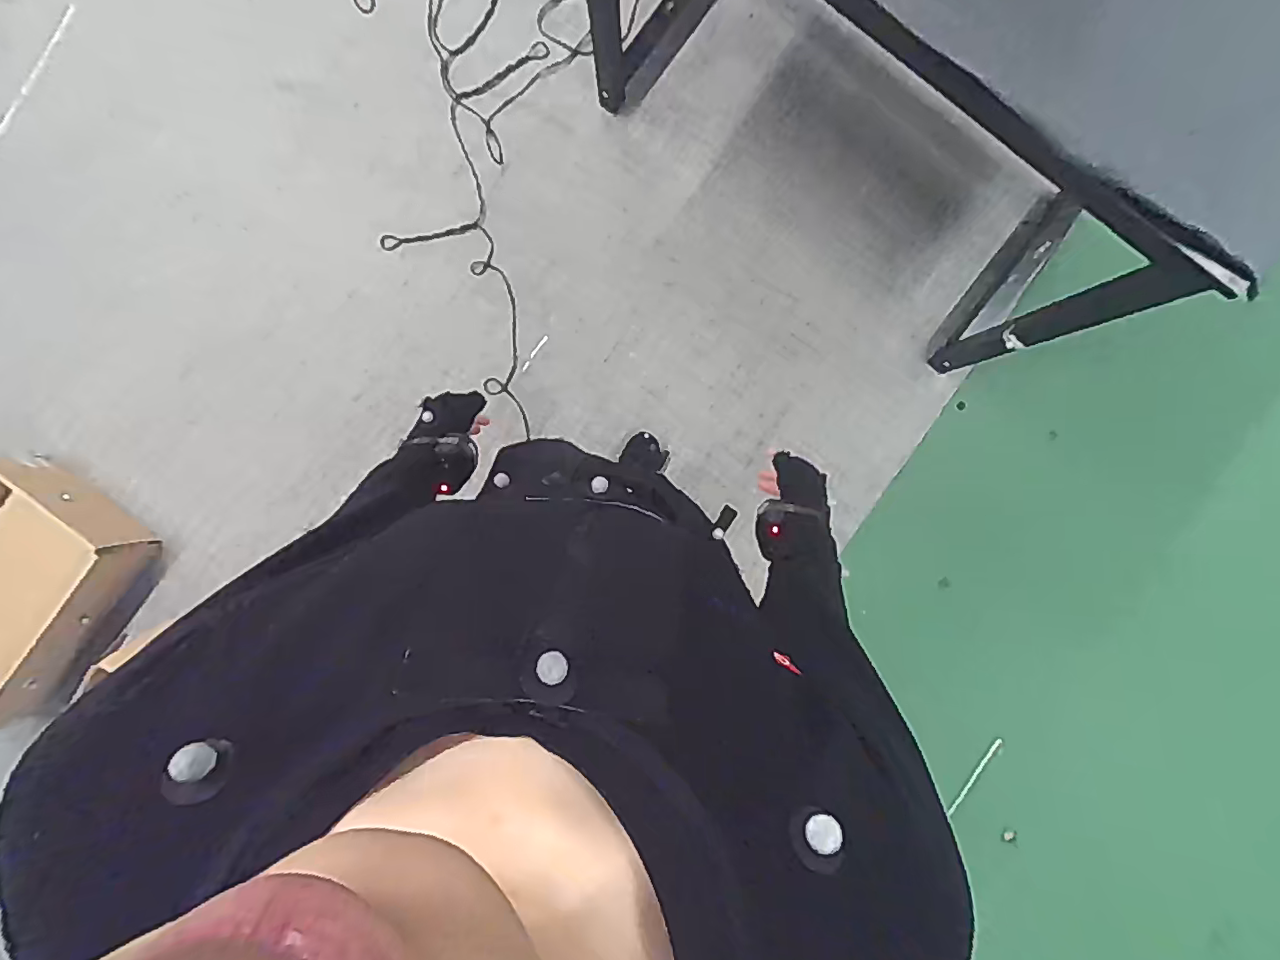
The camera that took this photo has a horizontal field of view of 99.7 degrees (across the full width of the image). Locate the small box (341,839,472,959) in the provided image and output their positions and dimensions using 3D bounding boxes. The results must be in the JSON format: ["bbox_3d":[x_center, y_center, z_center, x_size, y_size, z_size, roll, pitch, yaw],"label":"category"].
[{"bbox_3d":[-0.521,0.965,1.226,0.179,0.176,0.168,36,94,3],"label":"small box"}]
